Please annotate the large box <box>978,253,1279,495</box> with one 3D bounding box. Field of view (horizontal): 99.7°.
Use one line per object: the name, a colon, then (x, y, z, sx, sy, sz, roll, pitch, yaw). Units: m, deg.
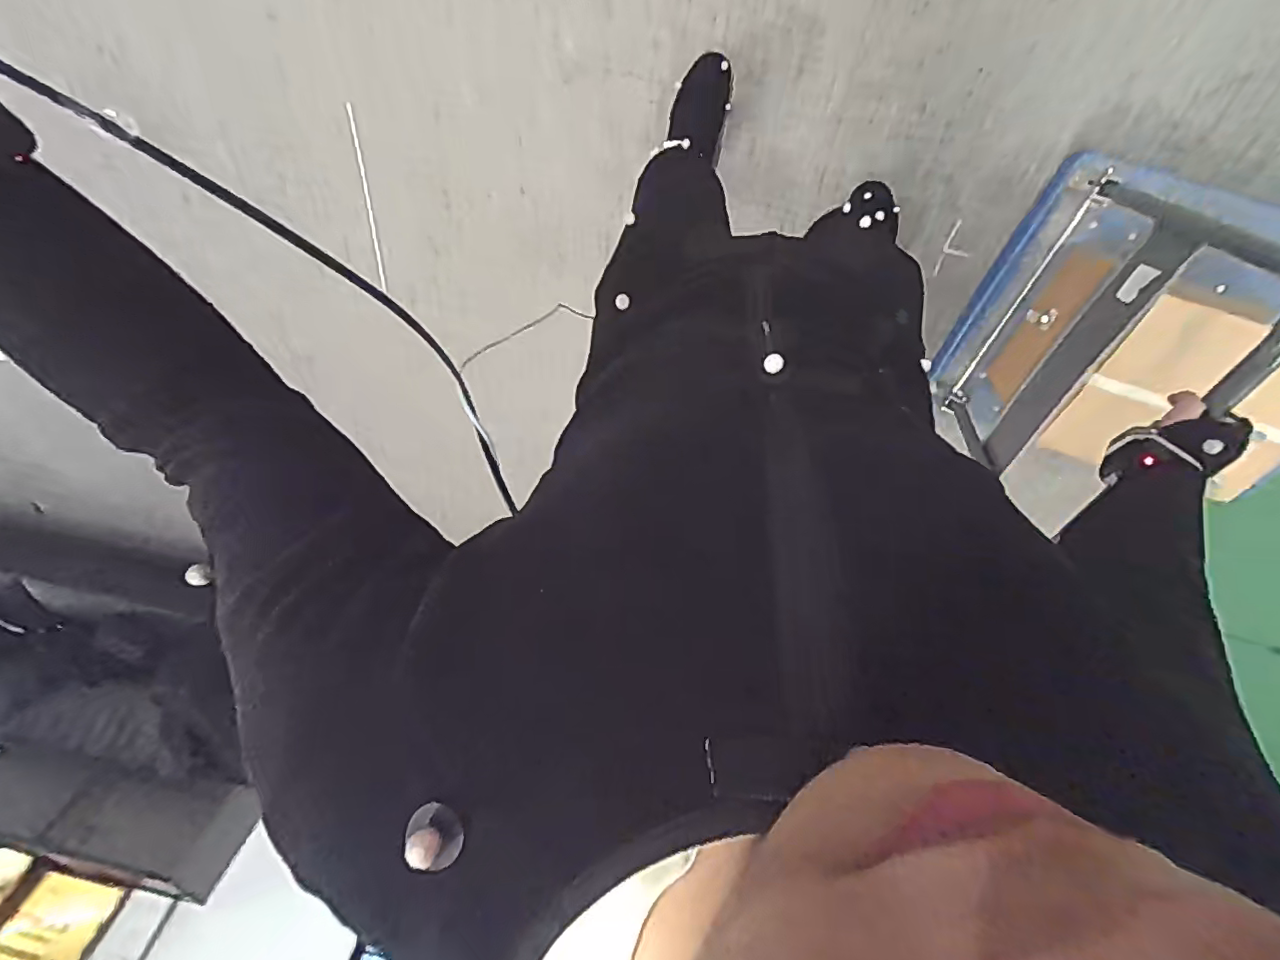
large box: (1.009, -0.226, 1.100, 0.408, 0.320, 0.320, 16, 129, 0)
